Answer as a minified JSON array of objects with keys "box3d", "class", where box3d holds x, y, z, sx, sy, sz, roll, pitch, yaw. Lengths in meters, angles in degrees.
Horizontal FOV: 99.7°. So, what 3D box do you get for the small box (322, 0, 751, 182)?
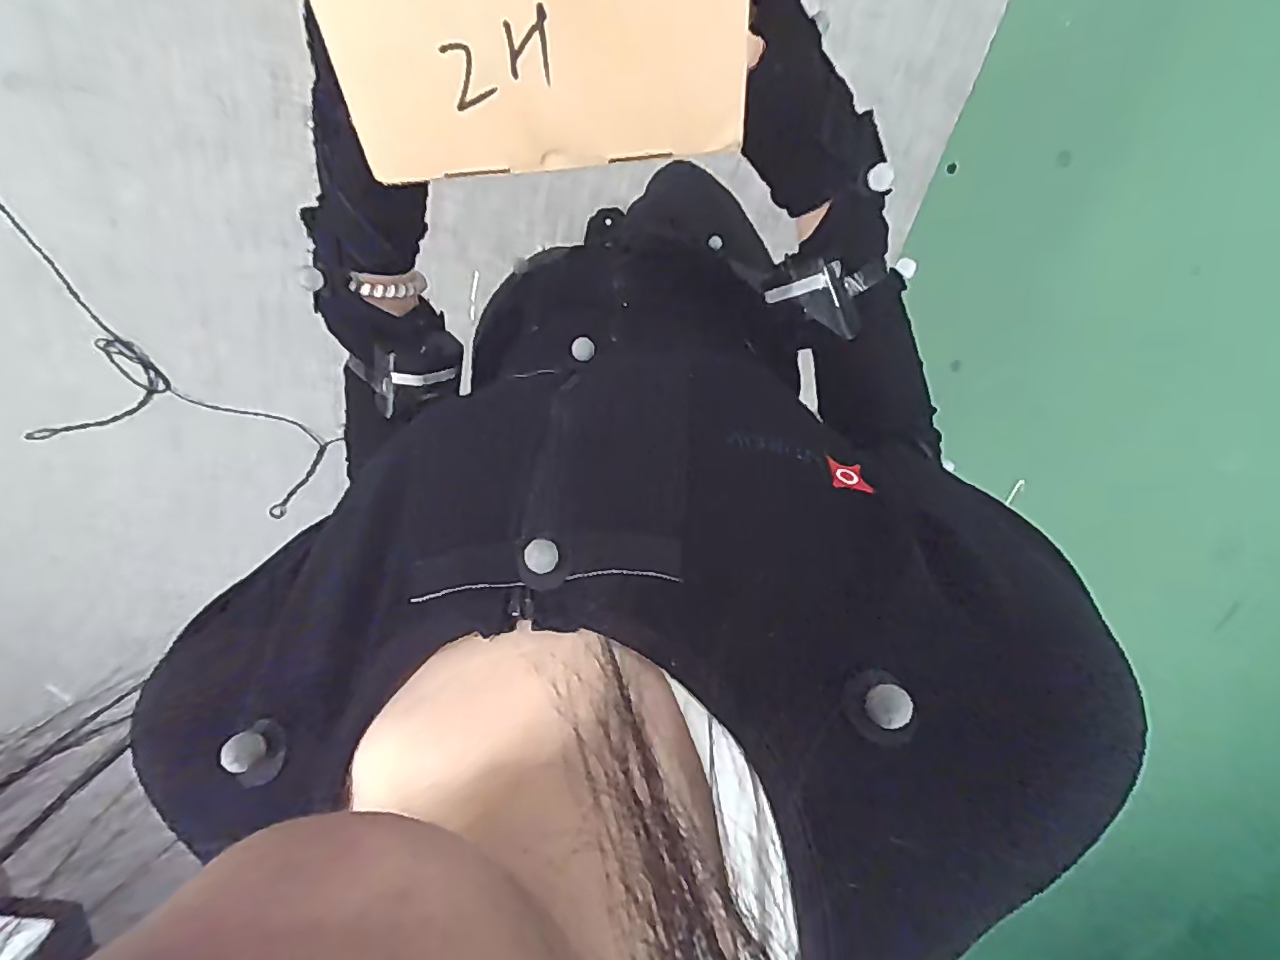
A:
[{"box3d":[-0.044,-0.258,0.249,0.168,0.176,0.179,-5,131,1],"class":"small box"}]
